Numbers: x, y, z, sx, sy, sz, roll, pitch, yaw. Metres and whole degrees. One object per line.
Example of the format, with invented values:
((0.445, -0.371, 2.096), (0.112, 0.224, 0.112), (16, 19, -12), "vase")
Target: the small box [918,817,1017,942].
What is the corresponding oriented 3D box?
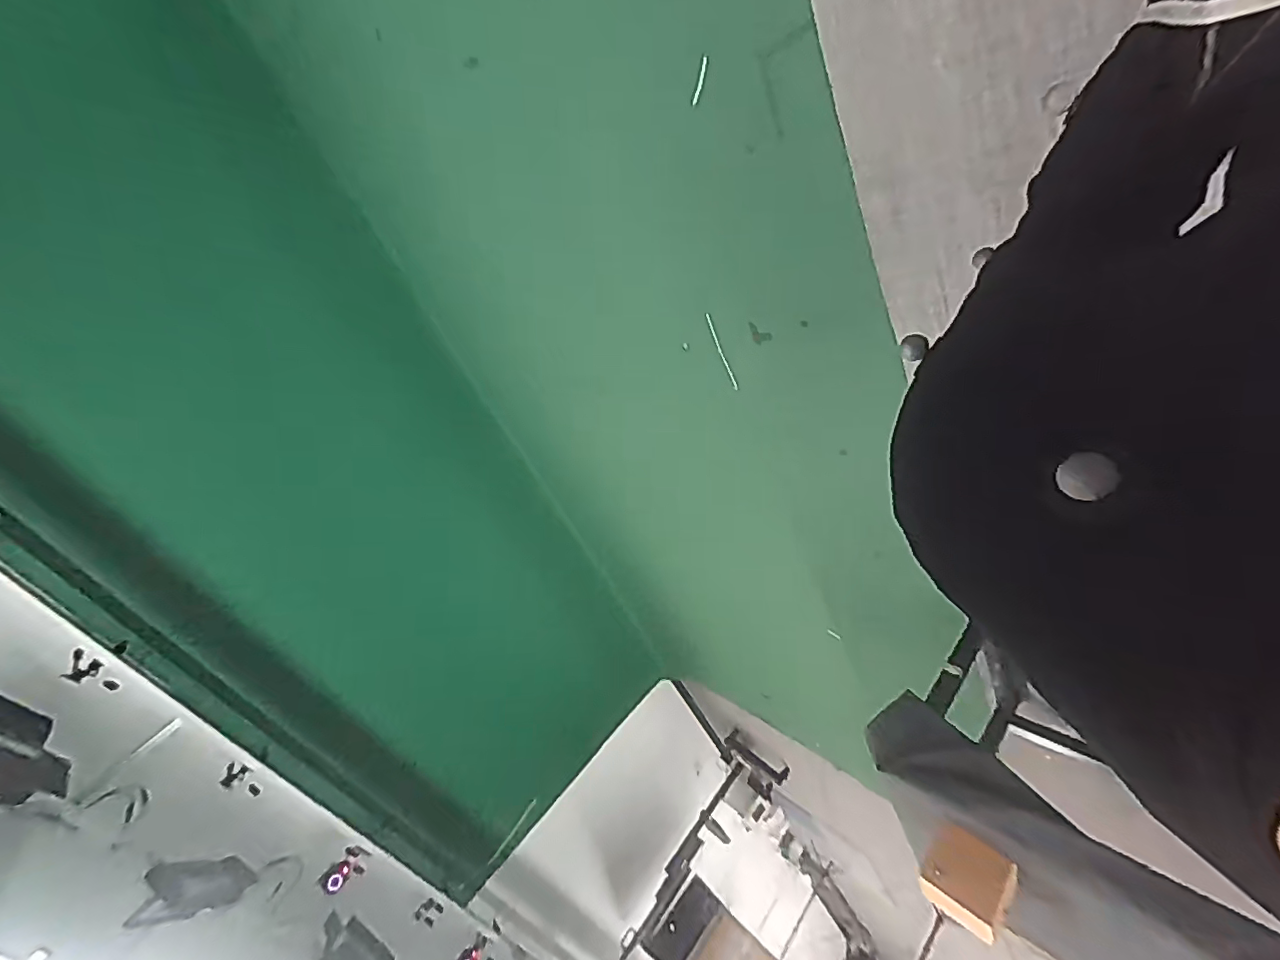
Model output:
((0.852, 1.028, 1.401), (0.179, 0.176, 0.168), (18, 143, 47), "small box")
